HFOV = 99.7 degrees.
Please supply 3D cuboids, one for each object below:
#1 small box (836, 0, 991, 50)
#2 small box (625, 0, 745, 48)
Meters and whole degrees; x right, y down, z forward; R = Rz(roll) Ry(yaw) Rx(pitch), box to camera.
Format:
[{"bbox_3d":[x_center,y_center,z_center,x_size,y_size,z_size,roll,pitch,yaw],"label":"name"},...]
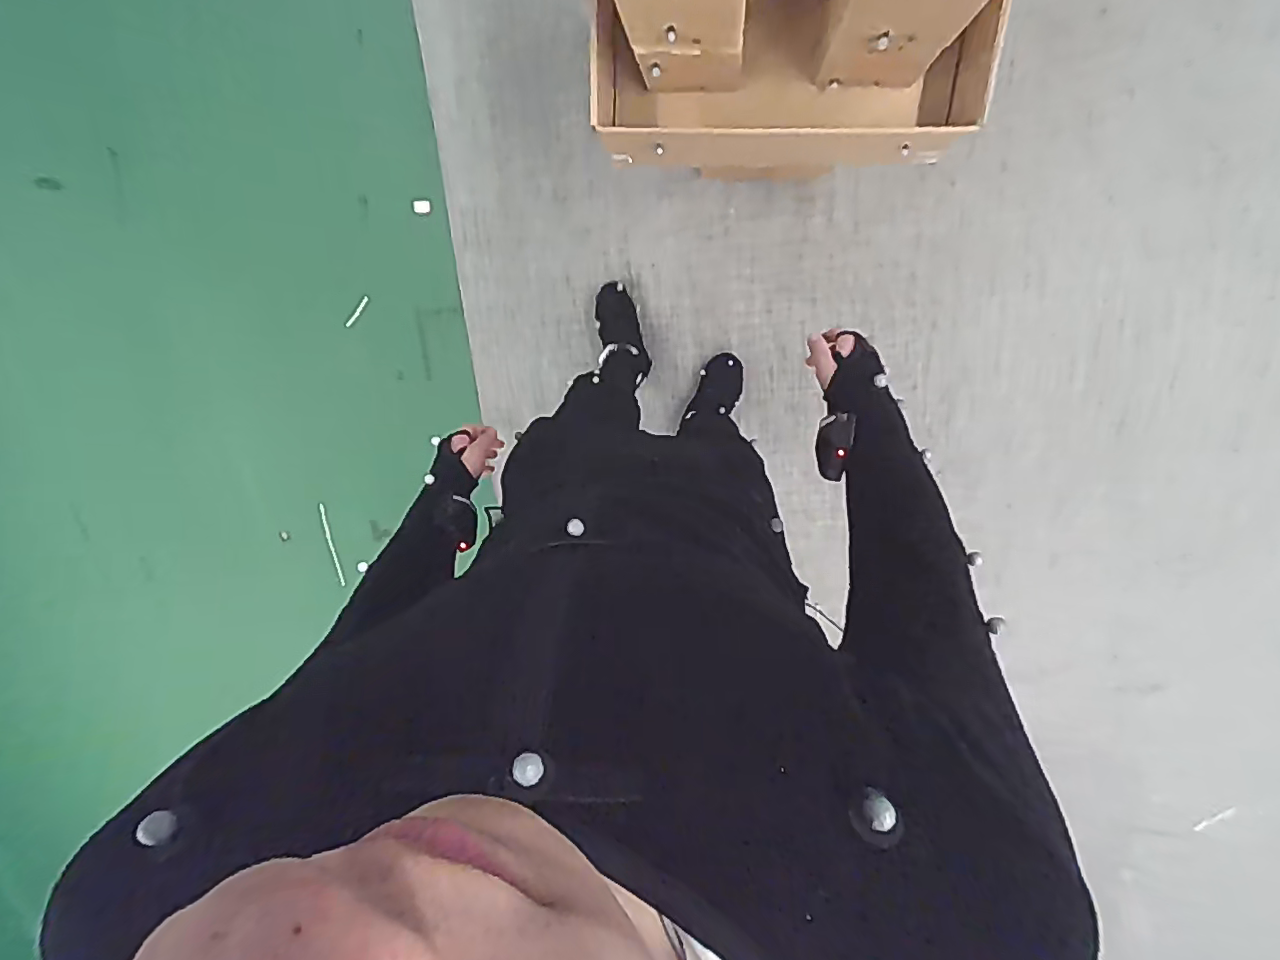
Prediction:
[{"bbox_3d":[0.354,-0.679,0.674,0.168,0.176,0.179,6,110,8],"label":"small box"},{"bbox_3d":[0.064,-0.712,0.711,0.168,0.176,0.179,6,109,7],"label":"small box"}]
